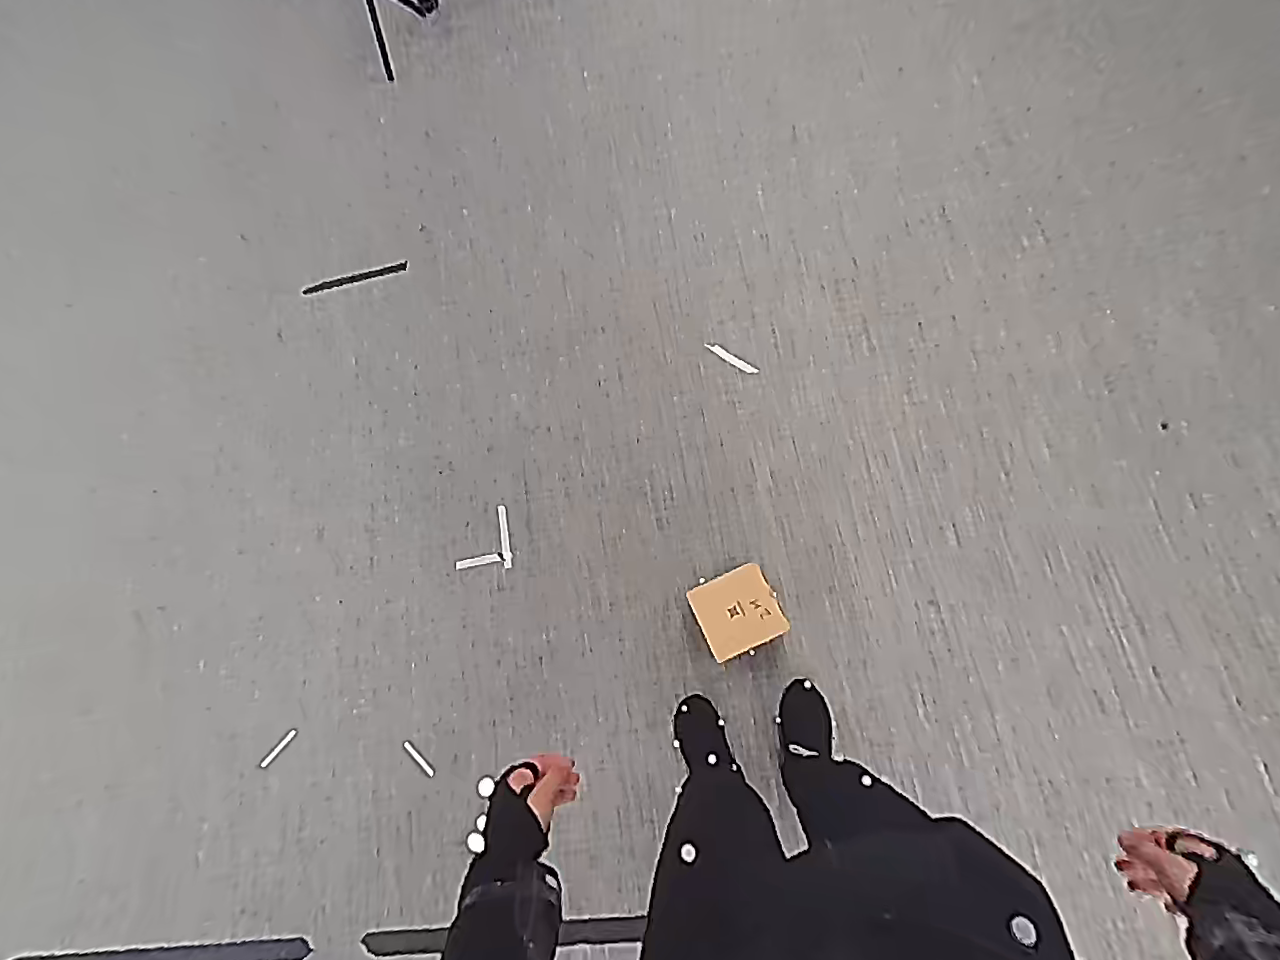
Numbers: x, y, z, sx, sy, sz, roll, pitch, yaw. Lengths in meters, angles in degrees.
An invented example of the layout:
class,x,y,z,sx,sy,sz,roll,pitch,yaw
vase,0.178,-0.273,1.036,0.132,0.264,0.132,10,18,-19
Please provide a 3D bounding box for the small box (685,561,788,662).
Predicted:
class,x,y,z,sx,sy,sz,roll,pitch,yaw
small box,0.220,0.304,1.244,0.179,0.176,0.168,-25,73,1
